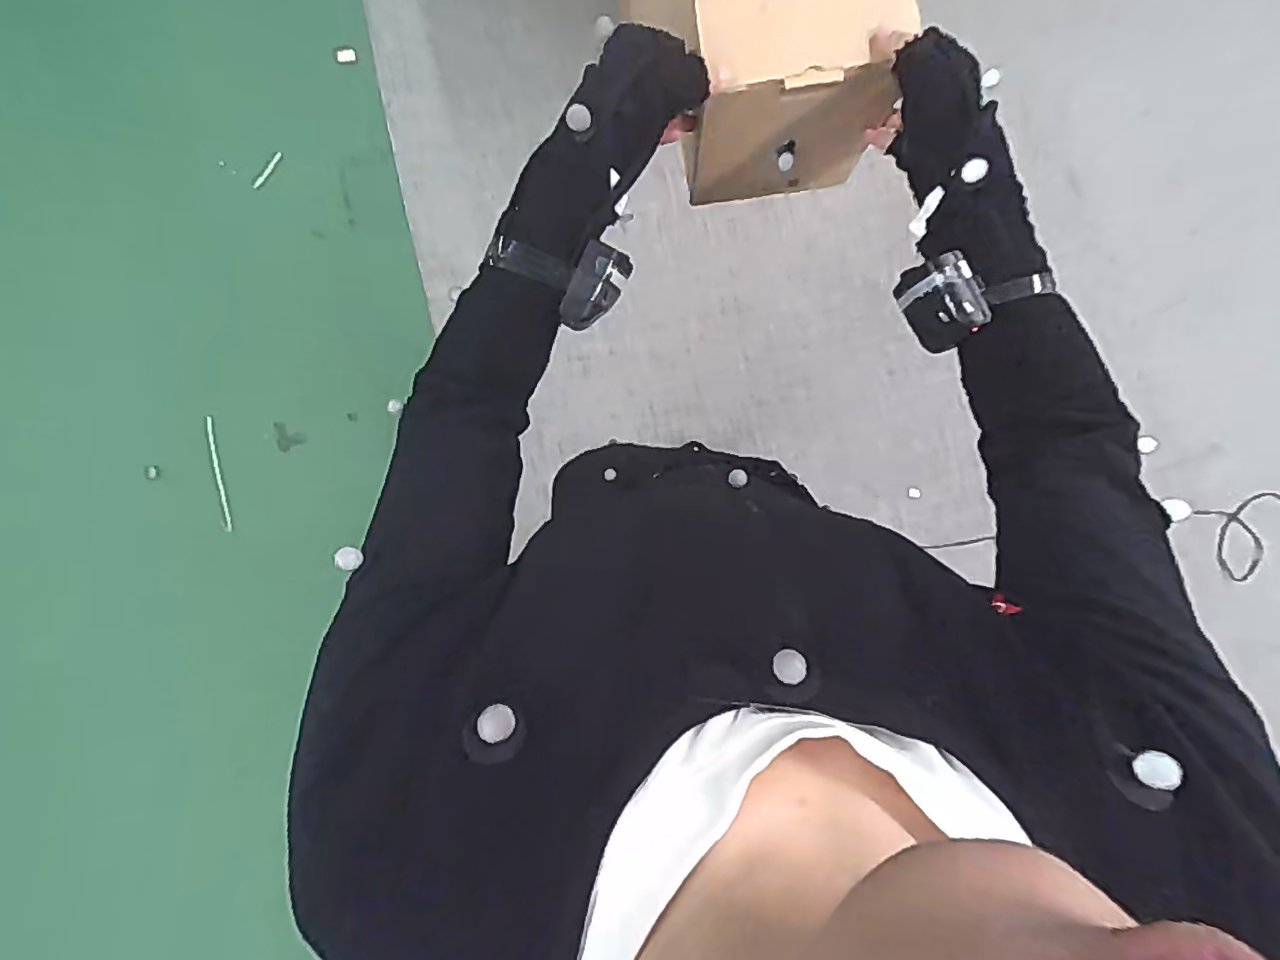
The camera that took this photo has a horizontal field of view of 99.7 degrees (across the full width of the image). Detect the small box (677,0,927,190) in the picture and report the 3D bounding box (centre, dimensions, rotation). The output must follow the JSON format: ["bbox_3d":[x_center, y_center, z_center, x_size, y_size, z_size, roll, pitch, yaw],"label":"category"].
[{"bbox_3d":[0.125,-0.386,0.483,0.168,0.176,0.179,-8,89,2],"label":"small box"}]
